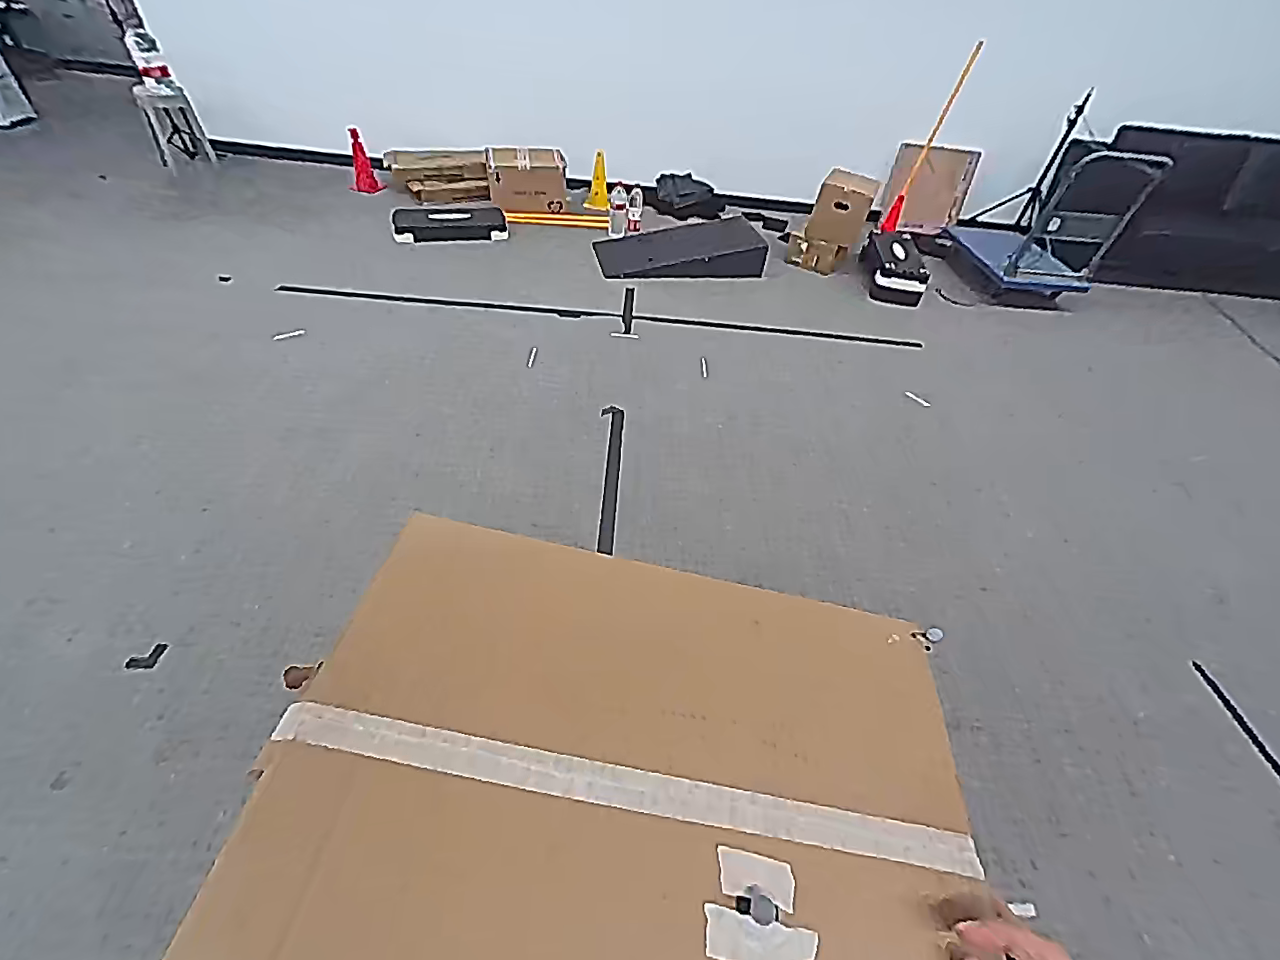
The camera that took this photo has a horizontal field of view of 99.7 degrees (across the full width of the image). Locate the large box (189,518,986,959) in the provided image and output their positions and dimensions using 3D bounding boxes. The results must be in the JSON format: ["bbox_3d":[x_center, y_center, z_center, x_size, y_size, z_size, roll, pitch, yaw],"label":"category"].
[{"bbox_3d":[-0.025,0.278,0.435,0.408,0.320,0.320,14,47,-2],"label":"large box"}]
